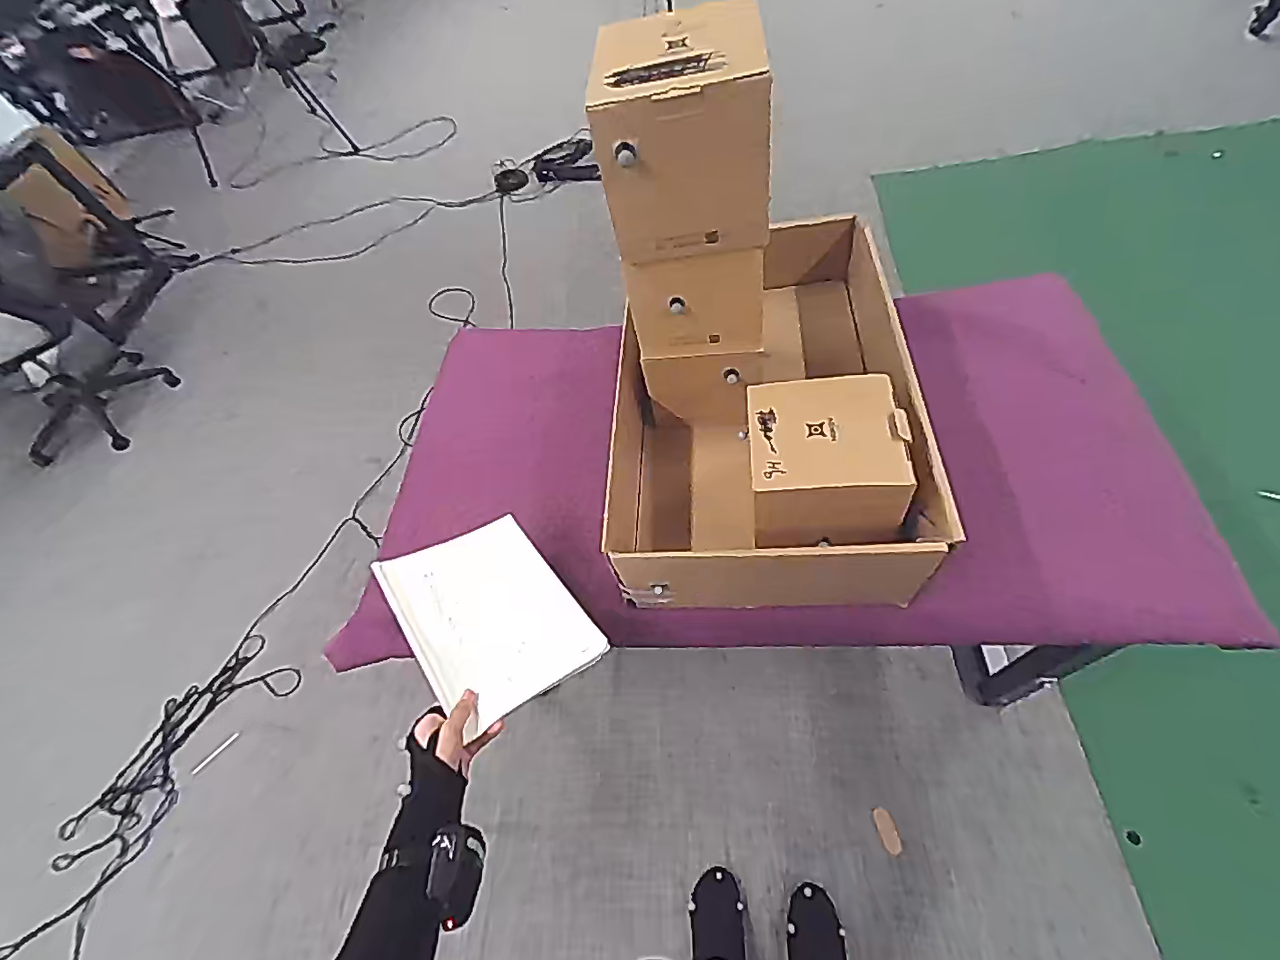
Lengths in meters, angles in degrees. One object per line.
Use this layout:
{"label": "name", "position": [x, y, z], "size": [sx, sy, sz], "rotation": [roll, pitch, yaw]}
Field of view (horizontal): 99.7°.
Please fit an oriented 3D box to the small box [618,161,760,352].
{"label": "small box", "position": [0.075, -0.288, 0.729], "size": [0.168, 0.176, 0.179], "rotation": [-2, 58, 11]}
